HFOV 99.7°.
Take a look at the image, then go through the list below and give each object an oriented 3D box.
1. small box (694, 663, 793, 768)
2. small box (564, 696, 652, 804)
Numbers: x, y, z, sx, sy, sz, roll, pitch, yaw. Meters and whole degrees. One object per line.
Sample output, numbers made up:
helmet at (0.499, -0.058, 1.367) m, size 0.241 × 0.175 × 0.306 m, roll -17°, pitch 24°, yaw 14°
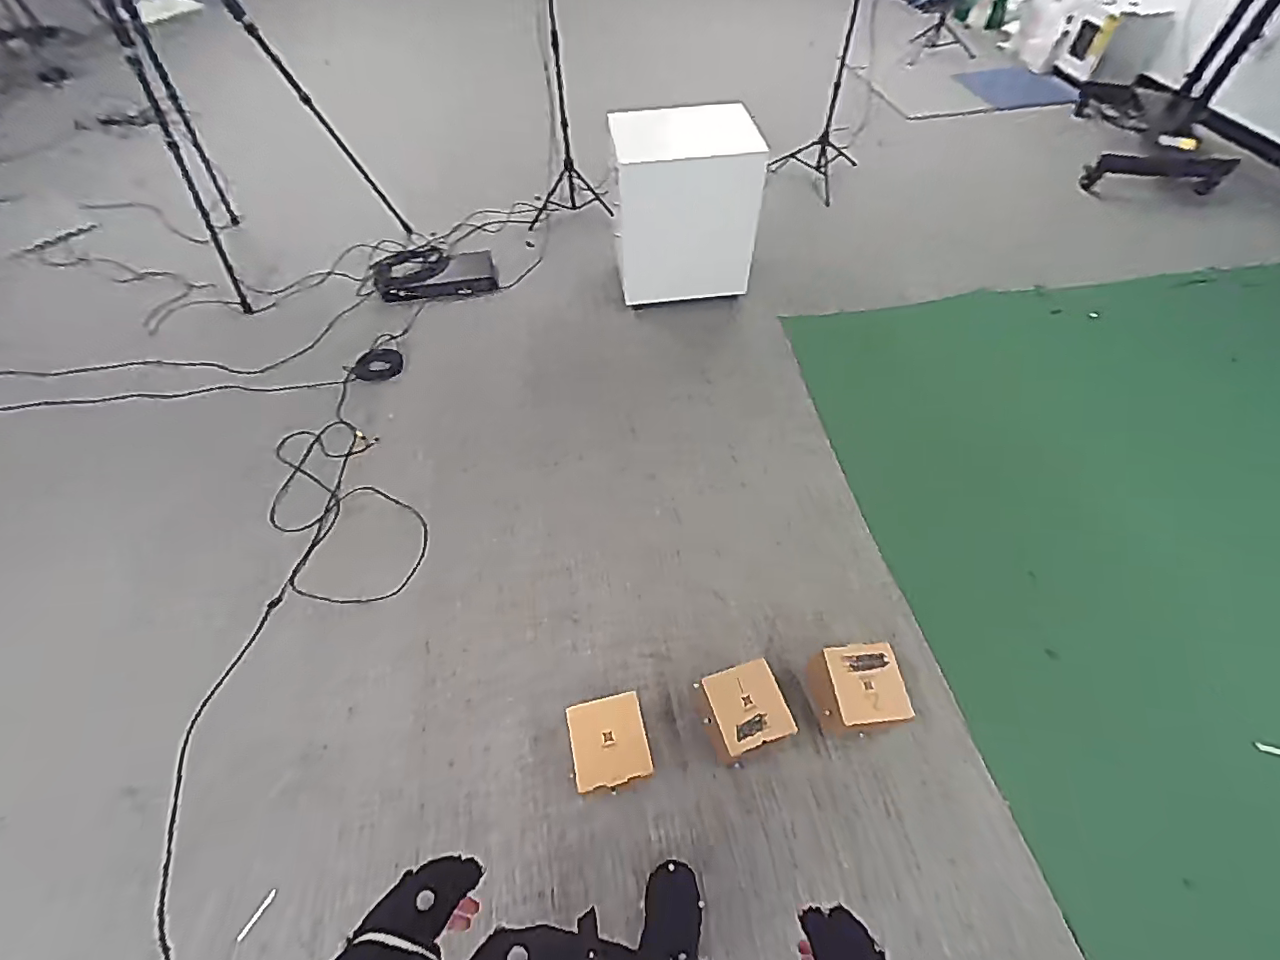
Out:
small box at (0.237, 0.563, 1.279) m, size 0.168 × 0.176 × 0.179 m, roll -15°, pitch 55°, yaw -11°
small box at (-0.074, 0.622, 1.241) m, size 0.168 × 0.176 × 0.179 m, roll -12°, pitch 56°, yaw -7°
